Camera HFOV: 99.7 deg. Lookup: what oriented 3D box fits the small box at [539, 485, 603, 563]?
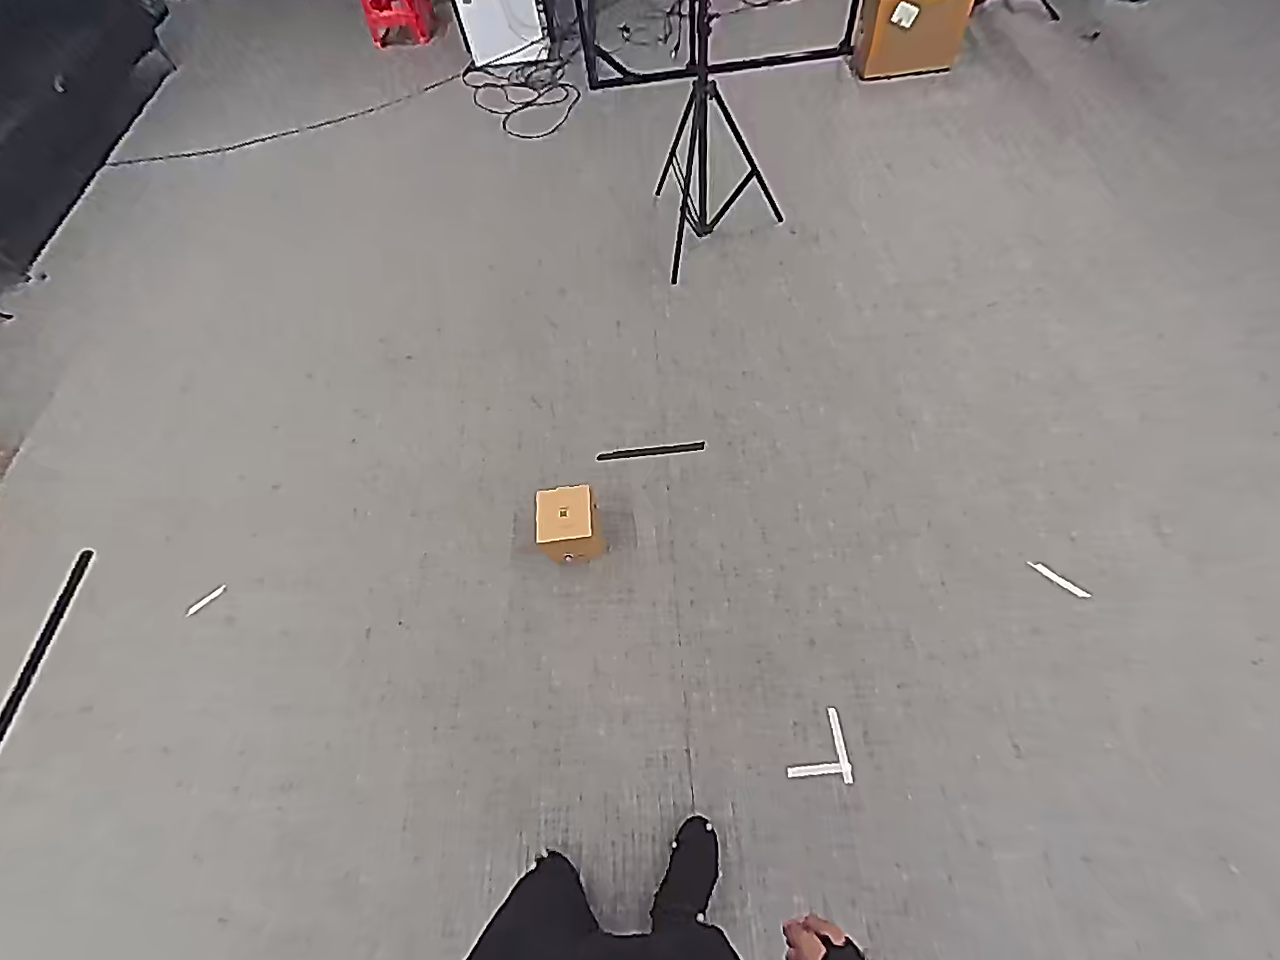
[{"bbox_3d":[-0.210,0.138,1.668,0.168,0.176,0.179,-8,61,4],"label":"small box"}]
